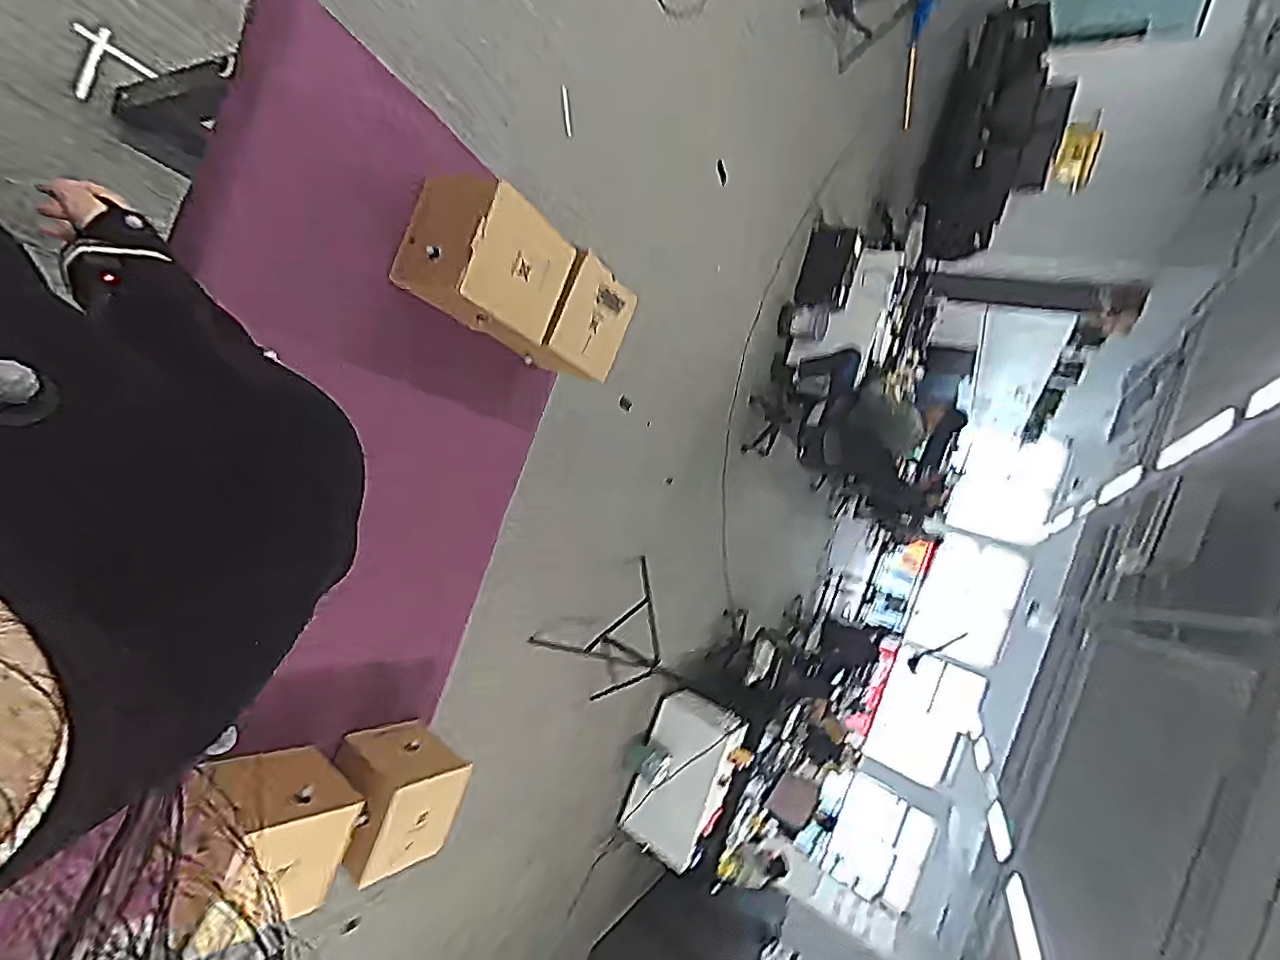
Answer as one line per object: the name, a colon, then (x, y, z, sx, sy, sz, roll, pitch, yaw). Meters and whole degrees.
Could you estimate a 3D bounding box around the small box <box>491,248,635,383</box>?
small box: (-0.142, -0.302, 0.990, 0.168, 0.176, 0.179, 26, 86, -57)

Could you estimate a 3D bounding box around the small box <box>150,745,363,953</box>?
small box: (-0.563, 0.520, 0.797, 0.179, 0.176, 0.168, 32, 78, -60)

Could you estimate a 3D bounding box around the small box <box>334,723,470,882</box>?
small box: (-0.452, 0.566, 0.986, 0.168, 0.176, 0.179, 24, 86, -58)
